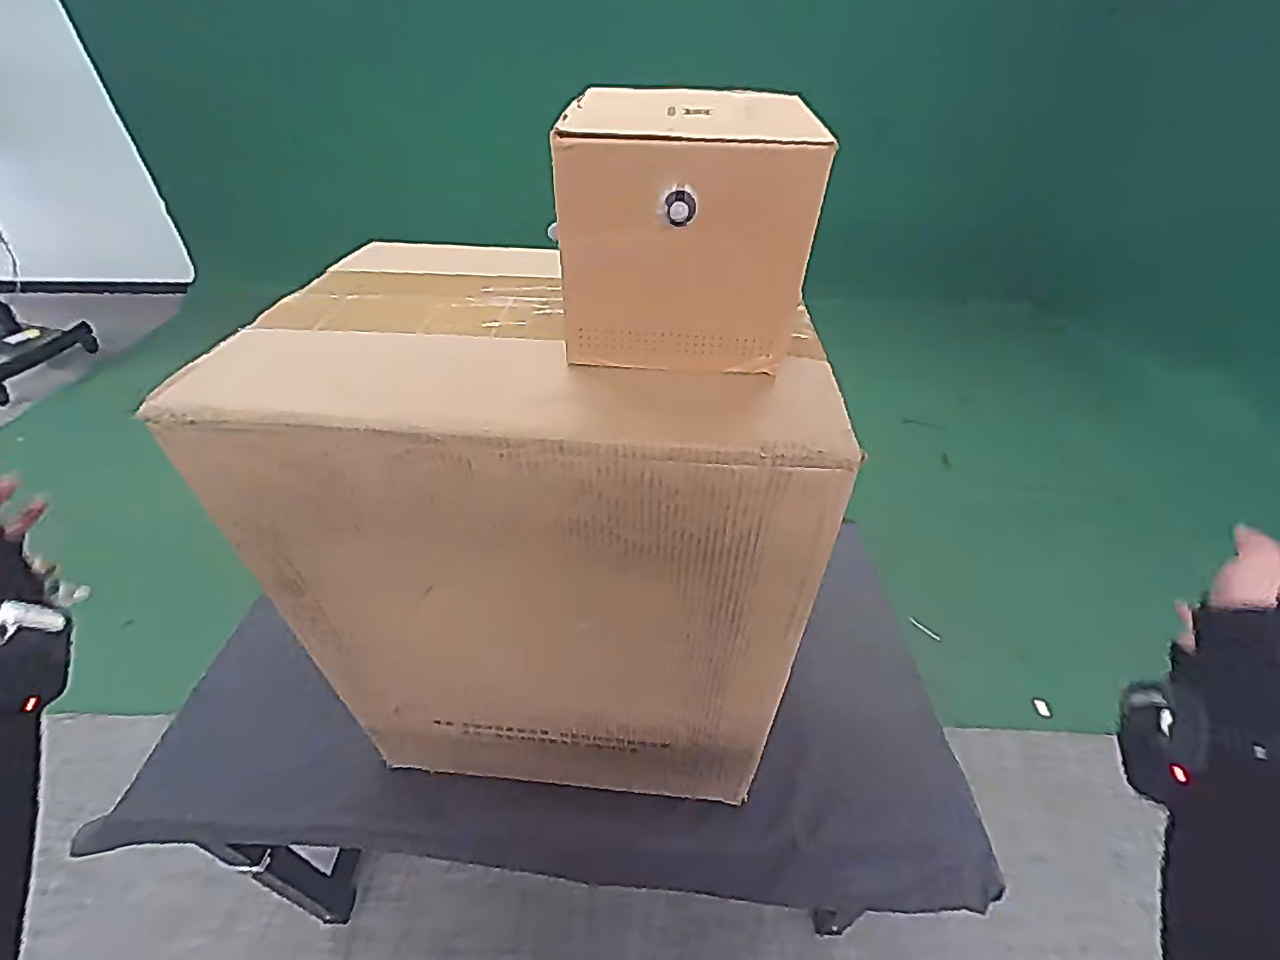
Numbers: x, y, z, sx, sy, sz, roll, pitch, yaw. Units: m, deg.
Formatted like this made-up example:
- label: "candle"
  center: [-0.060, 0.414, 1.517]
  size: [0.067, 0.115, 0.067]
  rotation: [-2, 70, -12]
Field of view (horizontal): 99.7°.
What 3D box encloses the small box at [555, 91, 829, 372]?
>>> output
- label: "small box"
  center: [0.035, -0.205, 0.449]
  size: [0.179, 0.176, 0.168]
  rotation: [5, 44, 1]
